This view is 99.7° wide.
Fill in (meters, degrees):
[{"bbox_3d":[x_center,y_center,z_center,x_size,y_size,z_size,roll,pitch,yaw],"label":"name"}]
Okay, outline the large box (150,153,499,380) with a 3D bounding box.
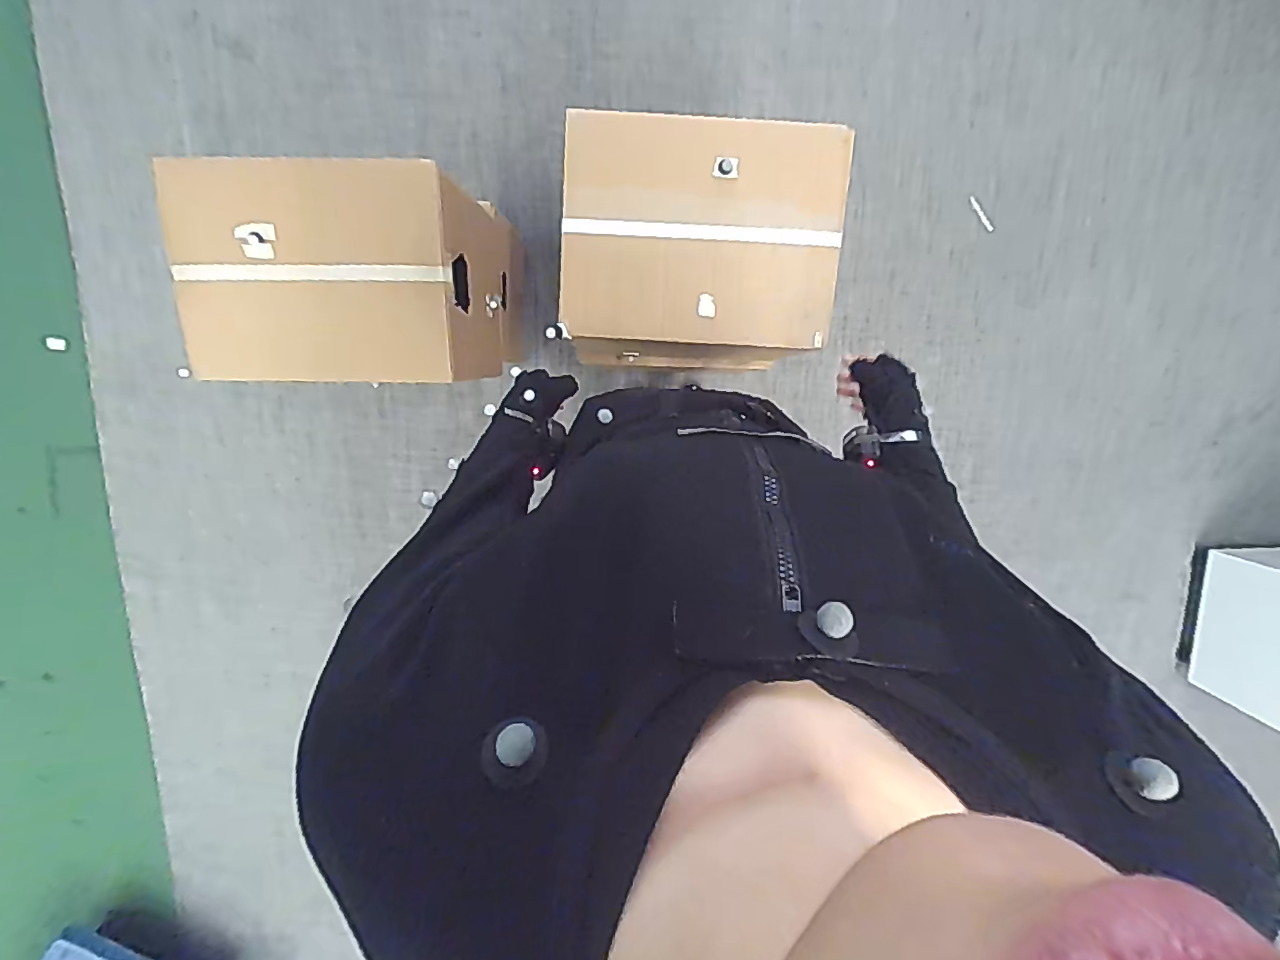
[{"bbox_3d":[-0.488,-0.343,0.935,0.408,0.320,0.320,1,103,1],"label":"large box"}]
